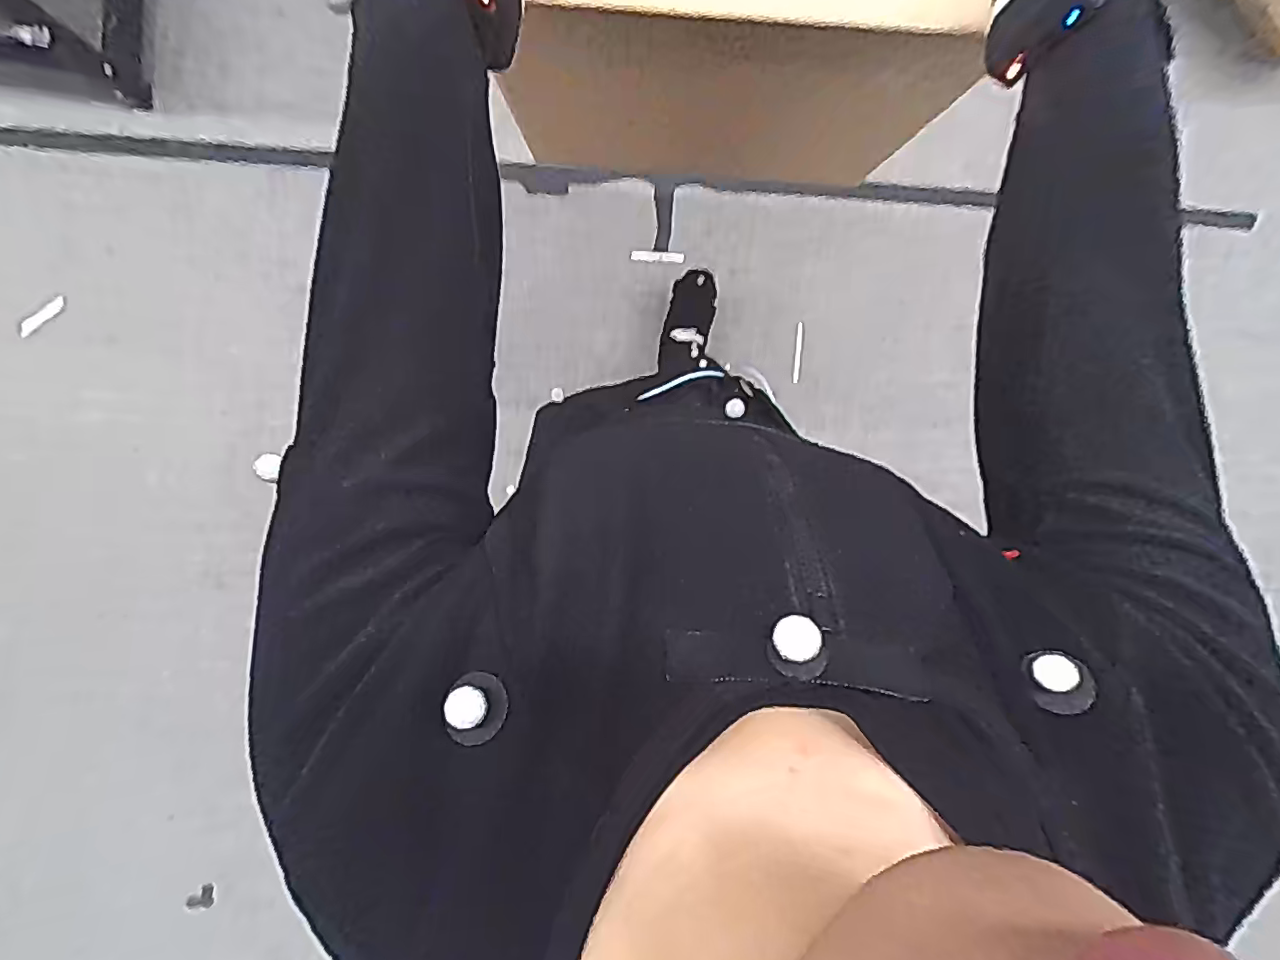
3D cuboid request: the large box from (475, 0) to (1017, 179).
[{"bbox_3d":[0.078,-0.509,0.508,0.408,0.320,0.320,3,102,-2],"label":"large box"}]
